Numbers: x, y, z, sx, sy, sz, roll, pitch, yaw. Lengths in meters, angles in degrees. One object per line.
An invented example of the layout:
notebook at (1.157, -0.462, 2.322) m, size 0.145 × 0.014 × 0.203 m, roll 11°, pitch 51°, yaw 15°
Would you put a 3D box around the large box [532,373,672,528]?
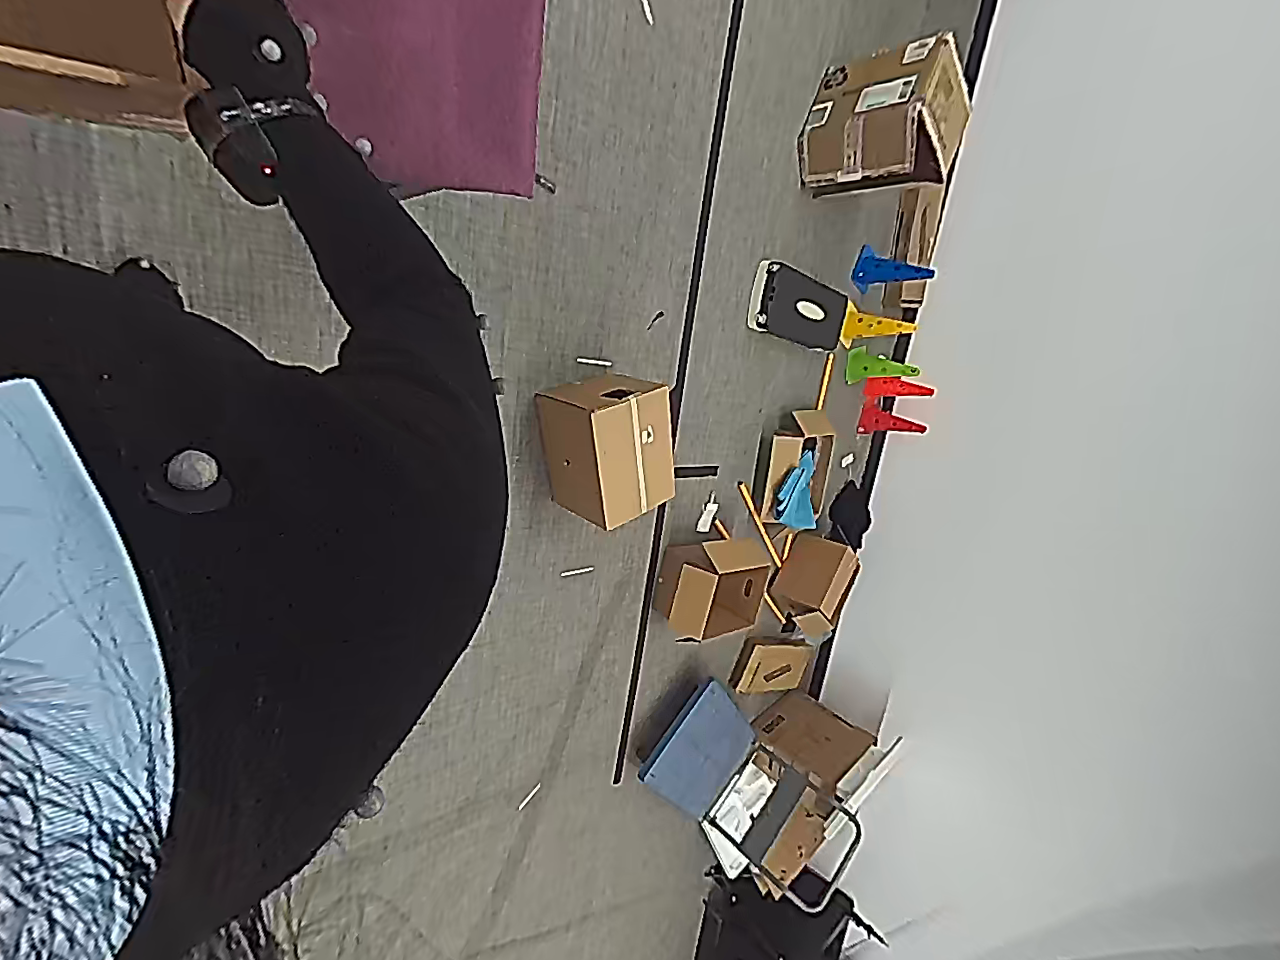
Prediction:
large box at (-0.123, -0.112, 1.808) m, size 0.320 × 0.320 × 0.408 m, roll -26°, pitch 122°, yaw -35°
